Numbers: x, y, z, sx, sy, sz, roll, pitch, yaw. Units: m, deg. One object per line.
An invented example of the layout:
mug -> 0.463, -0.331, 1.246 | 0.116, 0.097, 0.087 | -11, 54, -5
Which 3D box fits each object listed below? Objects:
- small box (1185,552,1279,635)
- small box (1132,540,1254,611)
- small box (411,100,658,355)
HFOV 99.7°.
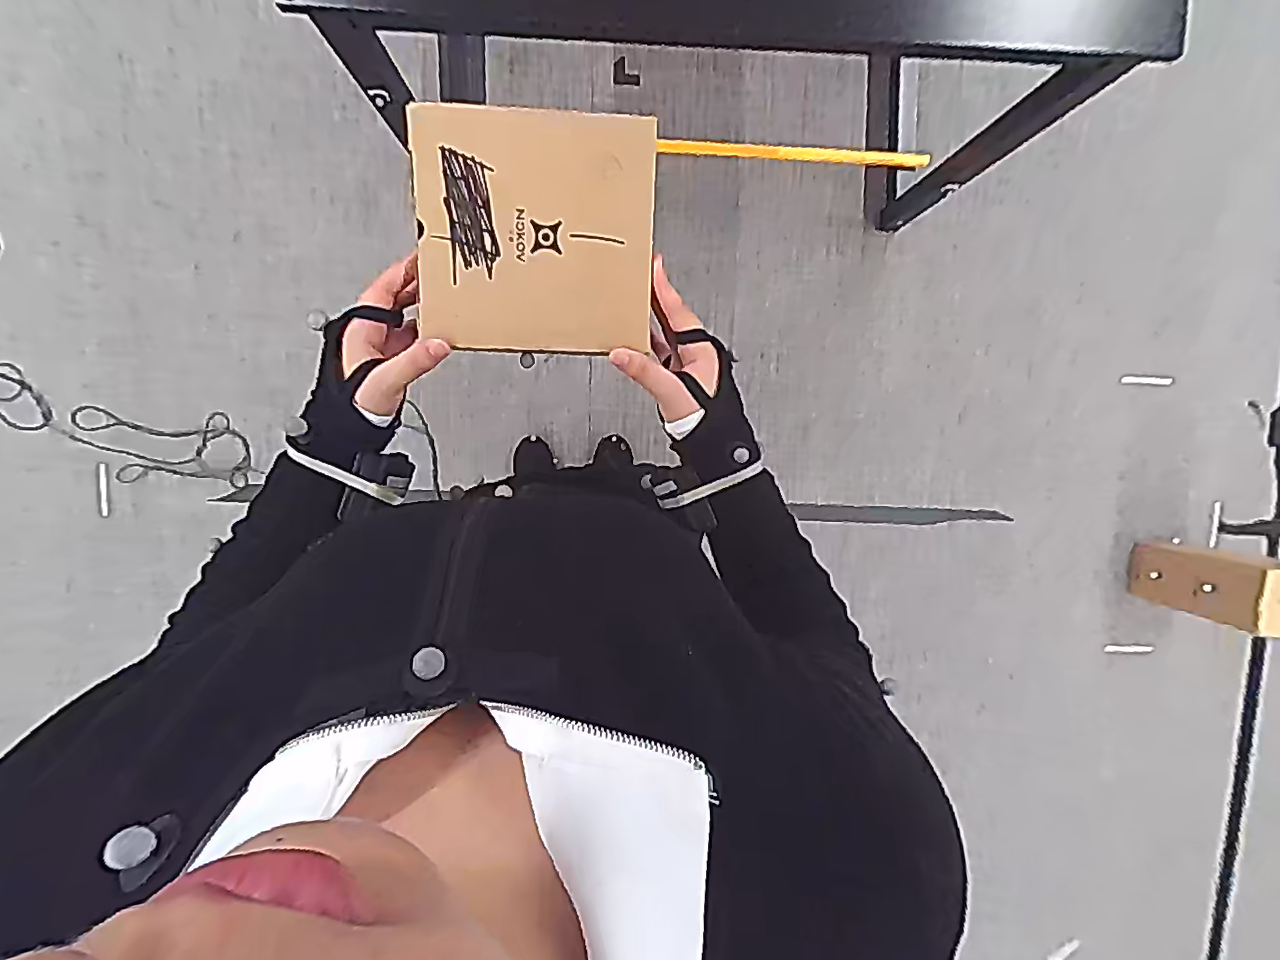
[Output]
small box -> 1.552, 0.282, 1.362 | 0.179, 0.176, 0.168 | 3, 95, -3
small box -> 1.551, 0.269, 1.528 | 0.179, 0.176, 0.168 | 1, 96, -2
small box -> -0.080, -0.198, 0.474 | 0.179, 0.176, 0.168 | 1, 102, -4
